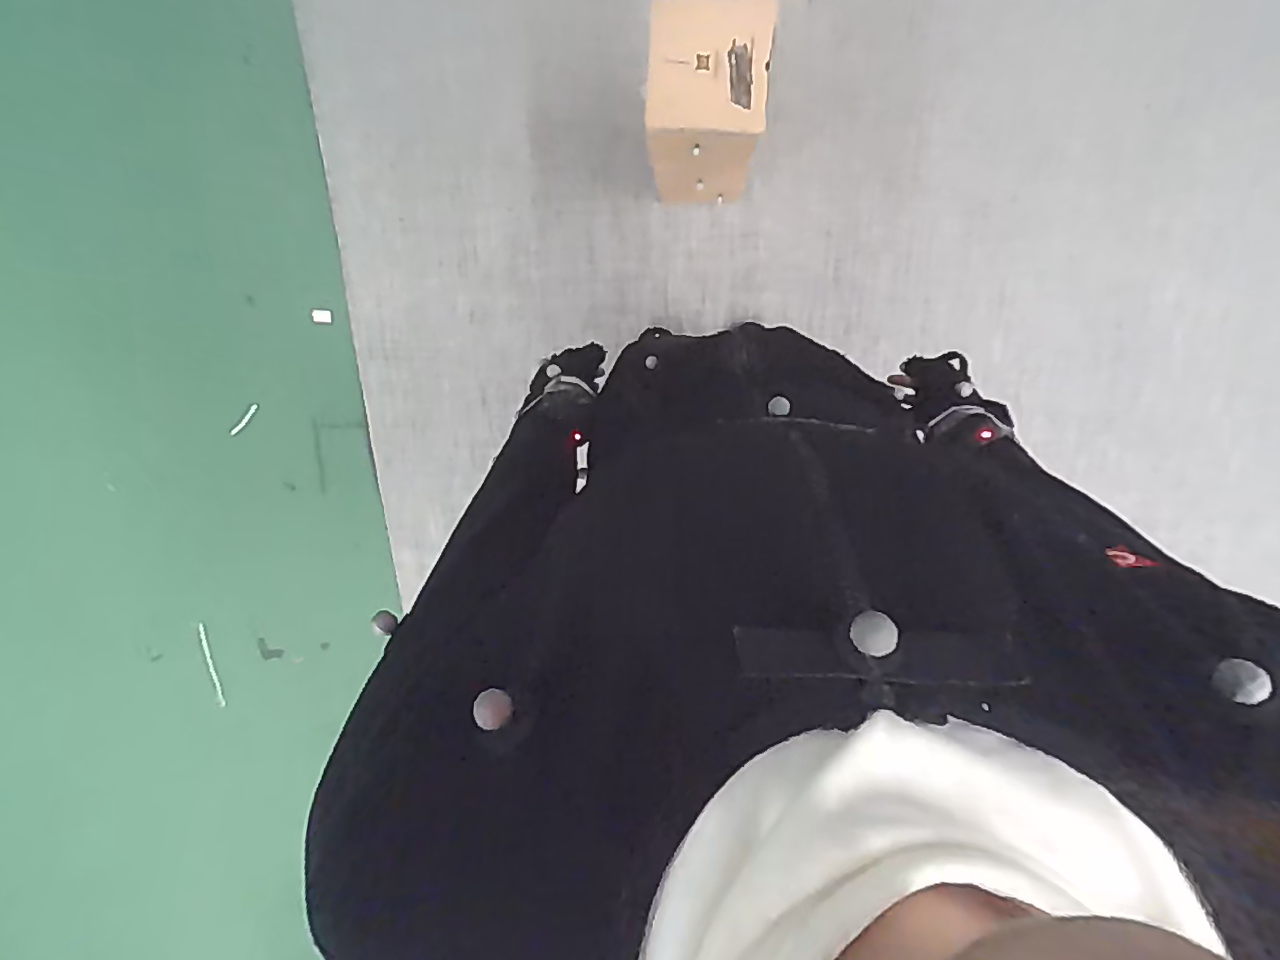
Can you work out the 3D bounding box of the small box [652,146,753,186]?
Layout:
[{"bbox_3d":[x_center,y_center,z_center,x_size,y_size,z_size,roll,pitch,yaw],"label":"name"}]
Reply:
[{"bbox_3d":[0.115,-0.654,0.999,0.179,0.176,0.168,3,106,2],"label":"small box"}]

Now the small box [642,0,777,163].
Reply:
[{"bbox_3d":[0.102,-0.609,0.841,0.179,0.176,0.168,6,107,4],"label":"small box"}]

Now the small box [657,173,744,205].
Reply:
[{"bbox_3d":[0.128,-0.698,1.156,0.179,0.176,0.168,1,106,4],"label":"small box"}]
